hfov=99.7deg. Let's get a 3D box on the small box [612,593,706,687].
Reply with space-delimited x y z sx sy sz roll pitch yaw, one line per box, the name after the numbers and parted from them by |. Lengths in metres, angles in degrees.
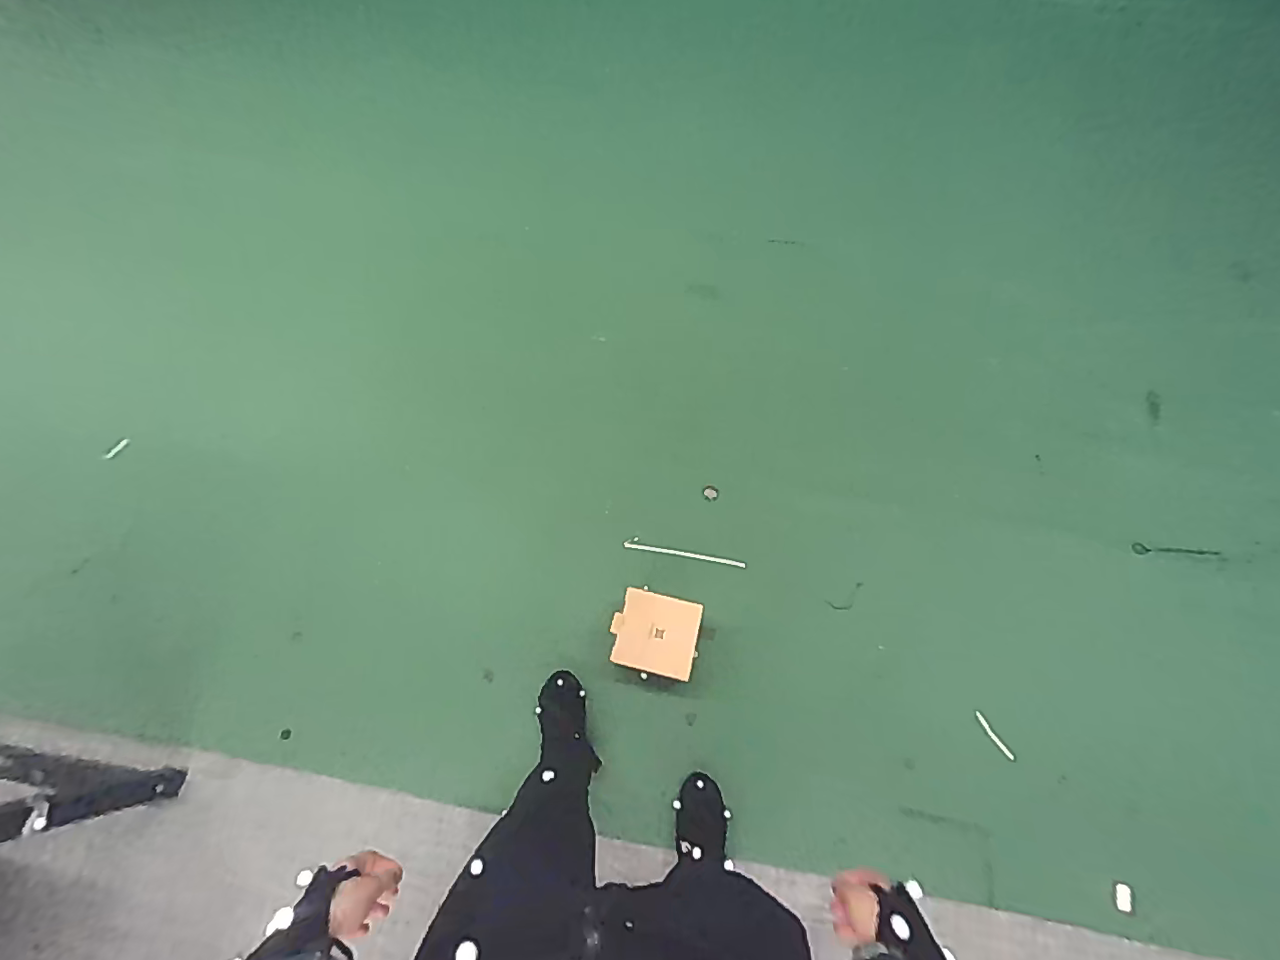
0.044 0.368 1.246 0.179 0.176 0.168 12 72 6 | small box
